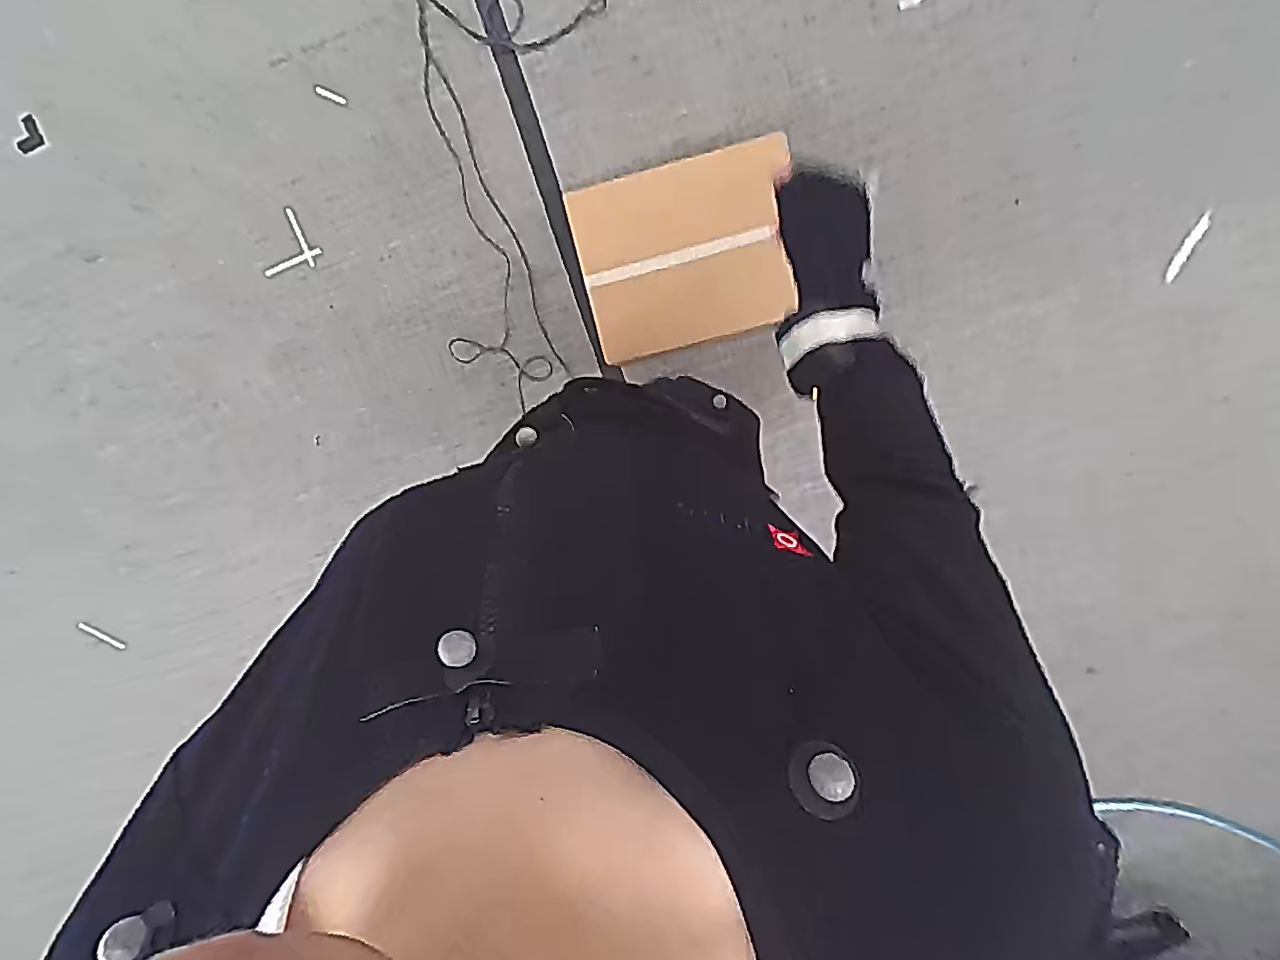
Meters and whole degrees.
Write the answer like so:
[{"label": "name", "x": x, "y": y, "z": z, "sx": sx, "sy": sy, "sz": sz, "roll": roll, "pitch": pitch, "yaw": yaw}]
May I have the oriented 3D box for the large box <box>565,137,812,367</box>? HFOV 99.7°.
[{"label": "large box", "x": 0.097, "y": -0.439, "z": 1.134, "sx": 0.408, "sy": 0.320, "sz": 0.320, "roll": -14, "pitch": 100, "yaw": 5}]
